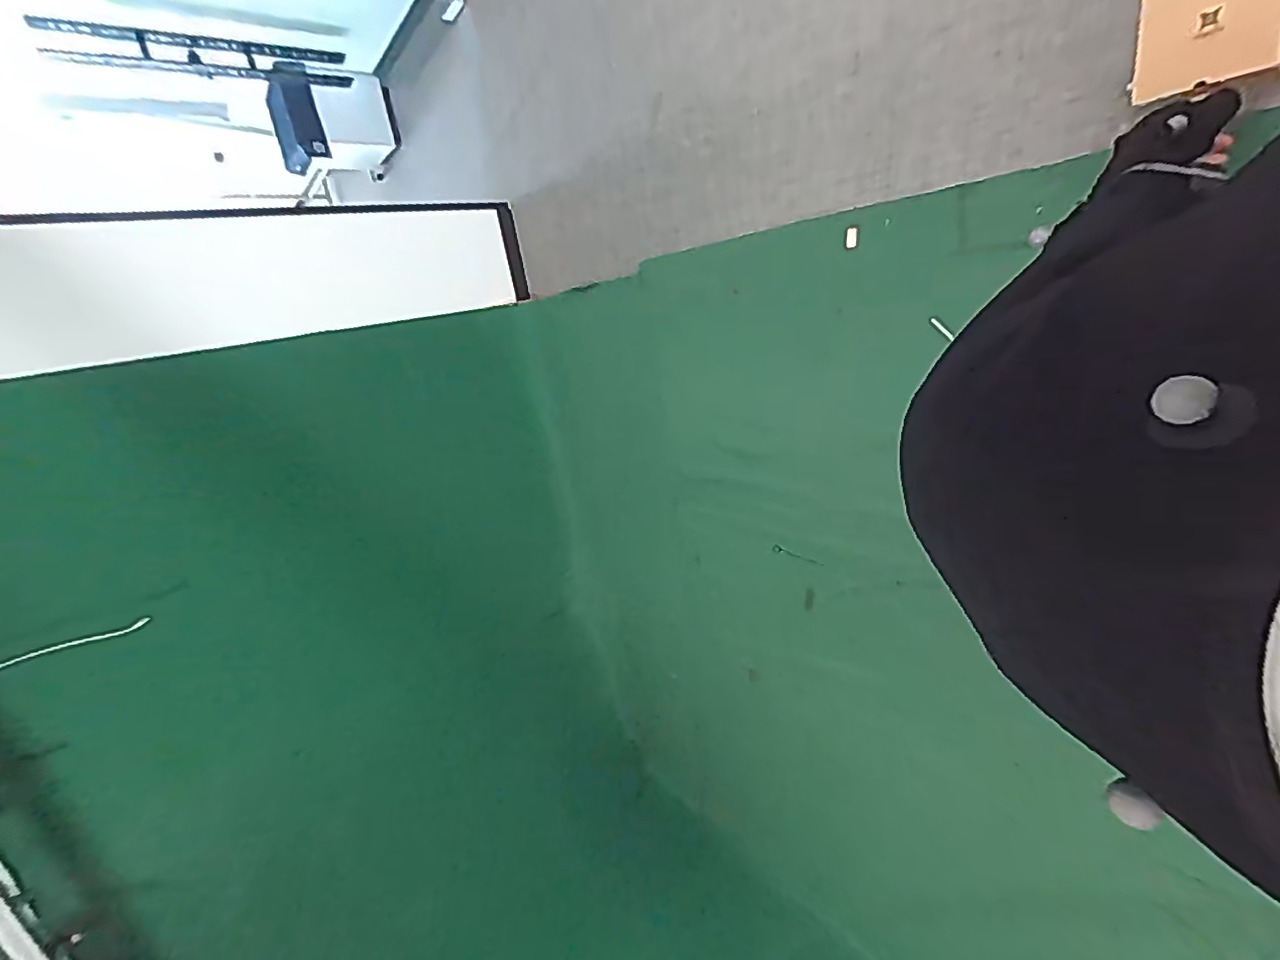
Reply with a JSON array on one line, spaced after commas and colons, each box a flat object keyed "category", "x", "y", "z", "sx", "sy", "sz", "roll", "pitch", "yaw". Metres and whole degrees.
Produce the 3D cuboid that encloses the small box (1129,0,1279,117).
[{"category": "small box", "x": 0.927, "y": -0.719, "z": 0.875, "sx": 0.168, "sy": 0.176, "sz": 0.179, "roll": 12, "pitch": 118, "yaw": 50}]
